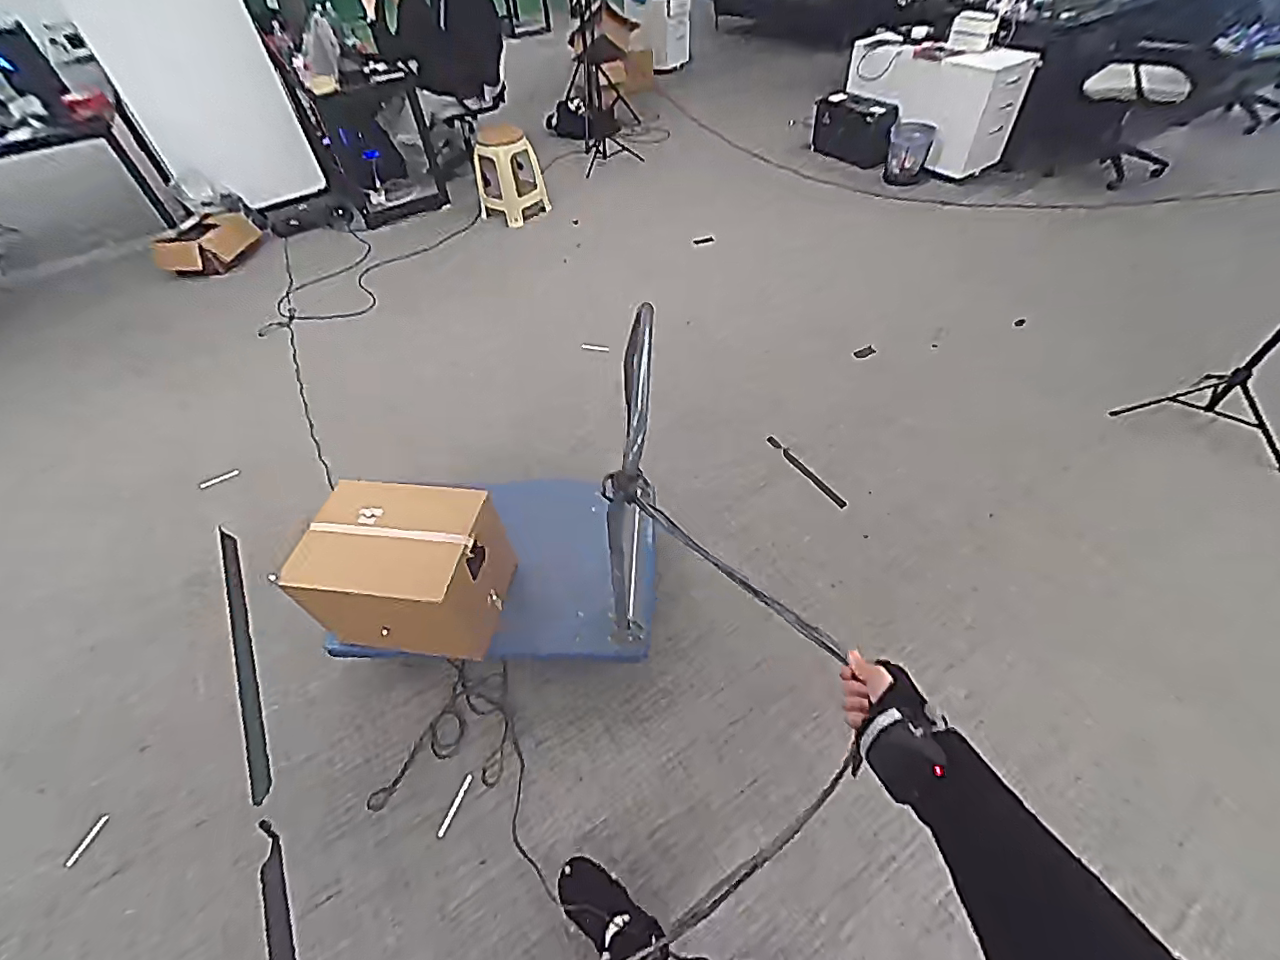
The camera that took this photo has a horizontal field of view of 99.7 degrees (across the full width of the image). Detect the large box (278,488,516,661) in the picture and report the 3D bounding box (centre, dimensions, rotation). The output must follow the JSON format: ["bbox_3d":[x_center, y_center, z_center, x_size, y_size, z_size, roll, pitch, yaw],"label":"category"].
[{"bbox_3d":[-0.574,0.240,1.373,0.408,0.320,0.320,3,48,9],"label":"large box"}]
